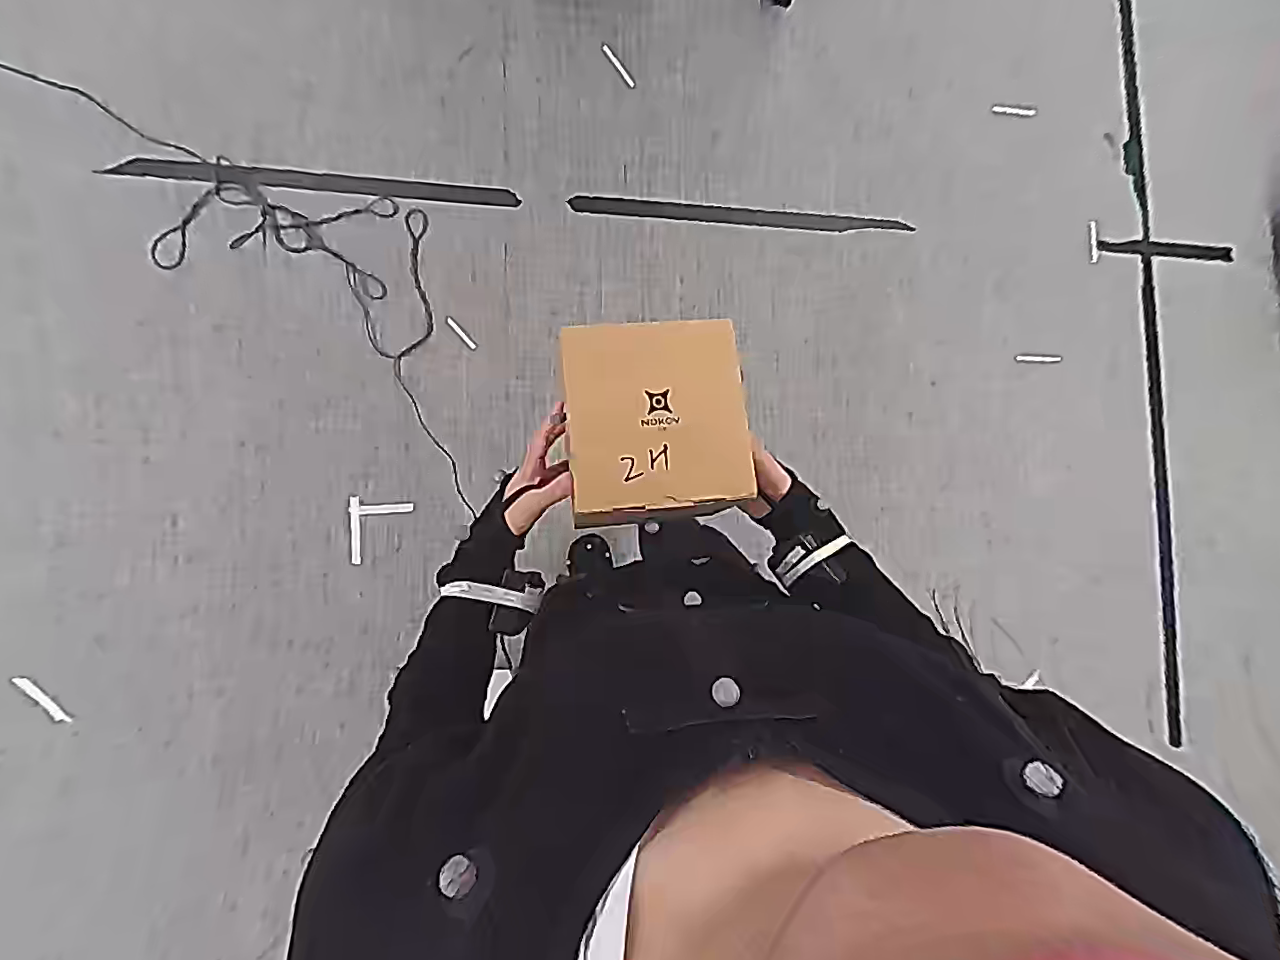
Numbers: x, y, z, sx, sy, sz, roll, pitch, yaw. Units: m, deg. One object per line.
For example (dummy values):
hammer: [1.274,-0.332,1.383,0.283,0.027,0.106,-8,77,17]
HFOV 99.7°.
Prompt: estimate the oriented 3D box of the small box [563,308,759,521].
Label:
small box: [0.008,-0.058,0.565,0.168,0.176,0.179,-6,81,-8]
